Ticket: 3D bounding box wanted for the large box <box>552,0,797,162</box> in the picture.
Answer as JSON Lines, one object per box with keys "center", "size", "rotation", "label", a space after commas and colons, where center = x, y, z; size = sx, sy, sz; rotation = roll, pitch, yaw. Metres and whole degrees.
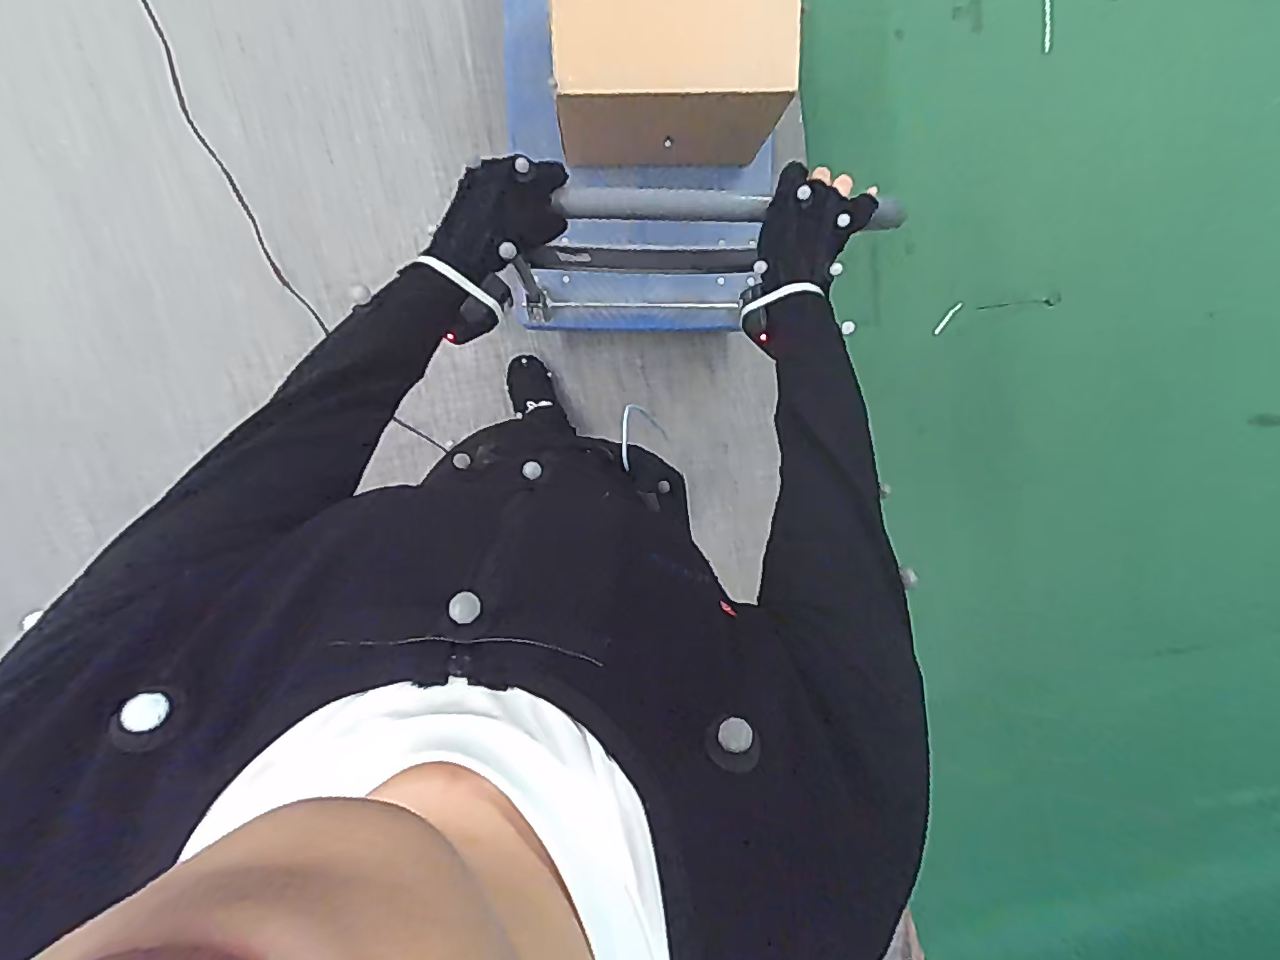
{"center": [0.051, -0.825, 1.016], "size": [0.408, 0.320, 0.320], "rotation": [-3, 100, -2], "label": "large box"}
